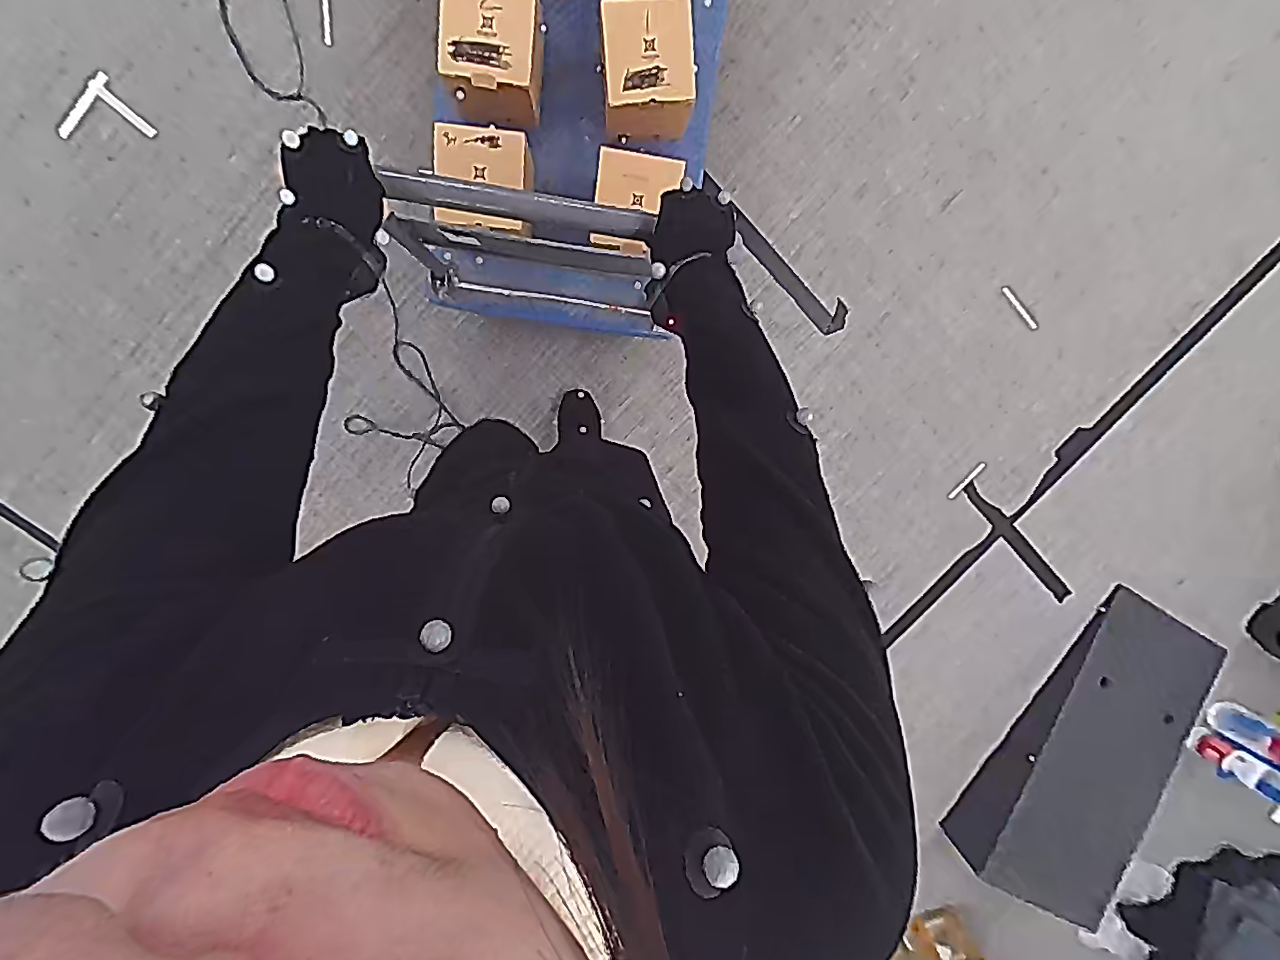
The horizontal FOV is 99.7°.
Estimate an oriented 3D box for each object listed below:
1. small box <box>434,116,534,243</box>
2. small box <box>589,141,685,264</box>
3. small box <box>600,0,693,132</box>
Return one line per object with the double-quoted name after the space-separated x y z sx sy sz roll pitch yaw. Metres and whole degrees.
-0.306 -0.588 1.084 0.168 0.176 0.179 3 101 -6 "small box"
-0.011 -0.559 1.117 0.168 0.176 0.179 7 100 -6 "small box"
0.010 -0.812 1.067 0.168 0.176 0.179 -5 101 -4 "small box"
